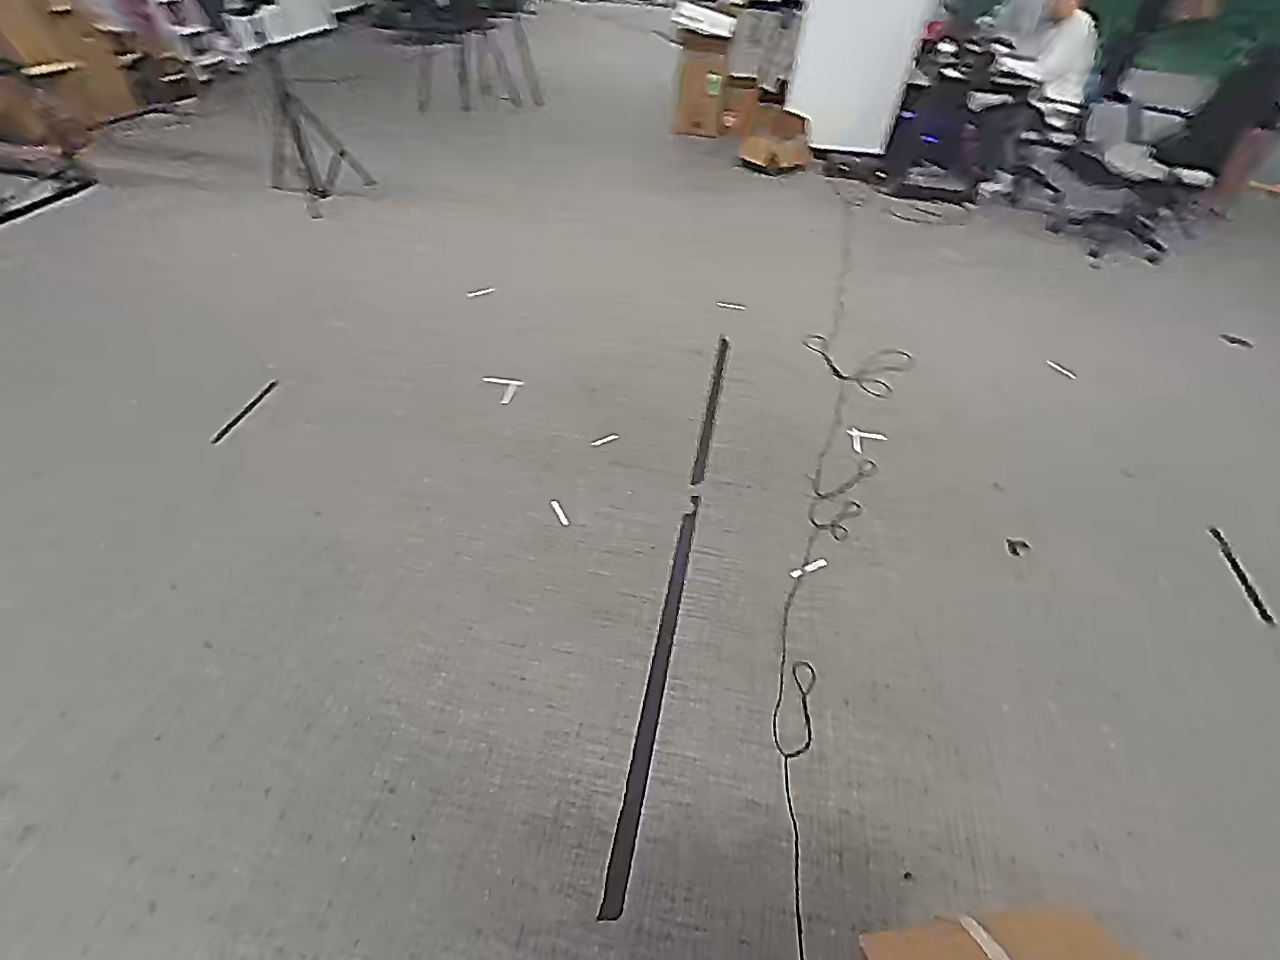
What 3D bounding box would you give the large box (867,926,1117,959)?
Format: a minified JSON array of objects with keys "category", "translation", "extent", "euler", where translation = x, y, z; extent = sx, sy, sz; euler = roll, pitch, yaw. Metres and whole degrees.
[{"category":"large box","translation":[0.481,0.764,0.547],"extent":[0.320,0.408,0.320],"euler":[-8,82,0]}]
